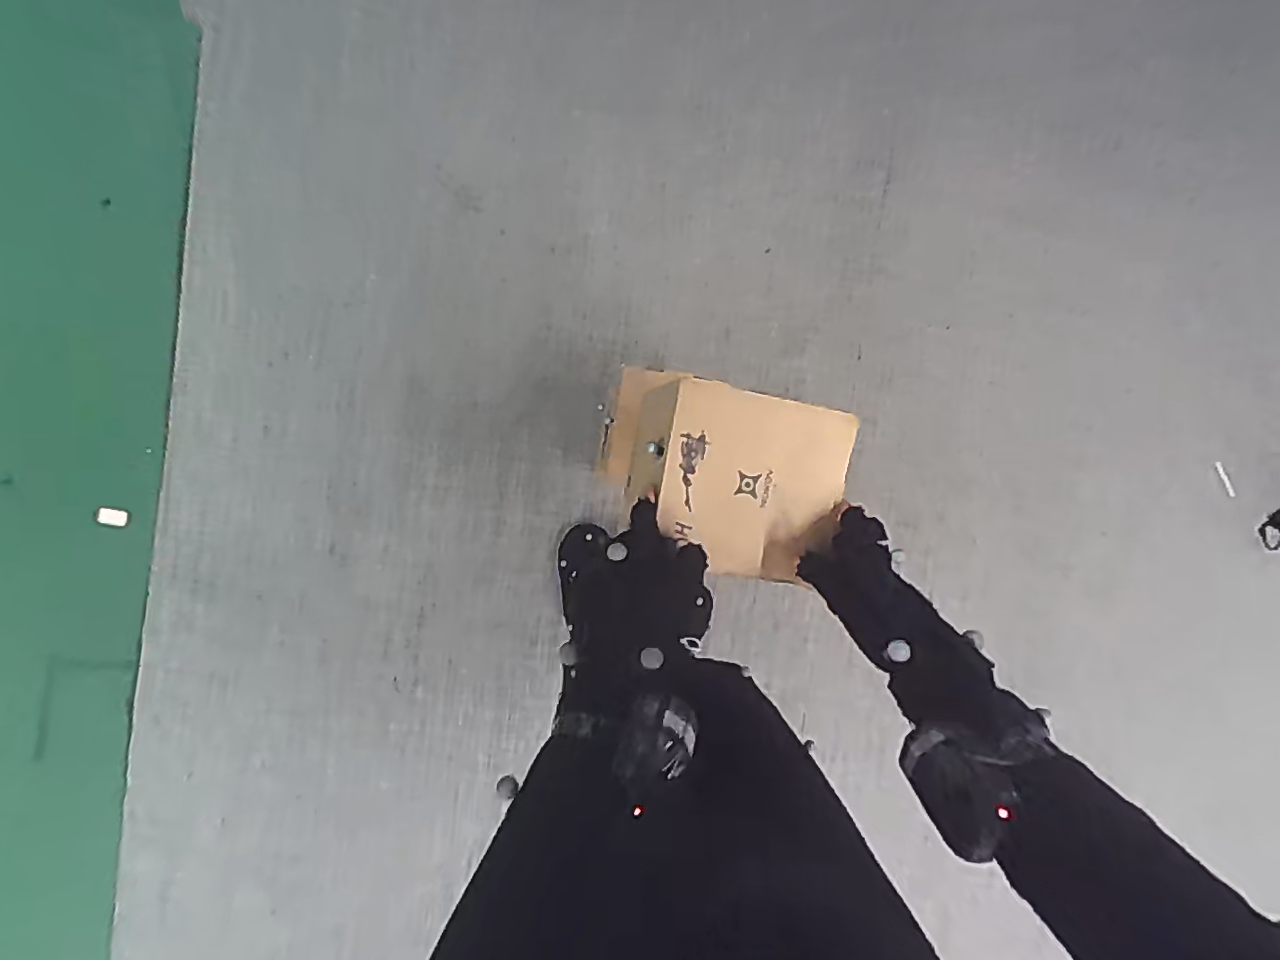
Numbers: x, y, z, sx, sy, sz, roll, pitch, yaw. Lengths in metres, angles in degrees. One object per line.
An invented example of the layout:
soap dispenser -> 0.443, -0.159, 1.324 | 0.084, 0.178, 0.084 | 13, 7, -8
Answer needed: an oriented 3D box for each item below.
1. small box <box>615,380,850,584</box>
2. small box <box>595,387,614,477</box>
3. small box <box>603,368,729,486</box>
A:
small box -> 0.083, -0.002, 0.571 | 0.179, 0.176, 0.168 | 10, 93, -13
small box -> 0.009, -0.078, 1.056 | 0.179, 0.176, 0.168 | 9, 93, -8
small box -> 0.033, -0.074, 0.879 | 0.168, 0.176, 0.179 | 8, 94, -6
